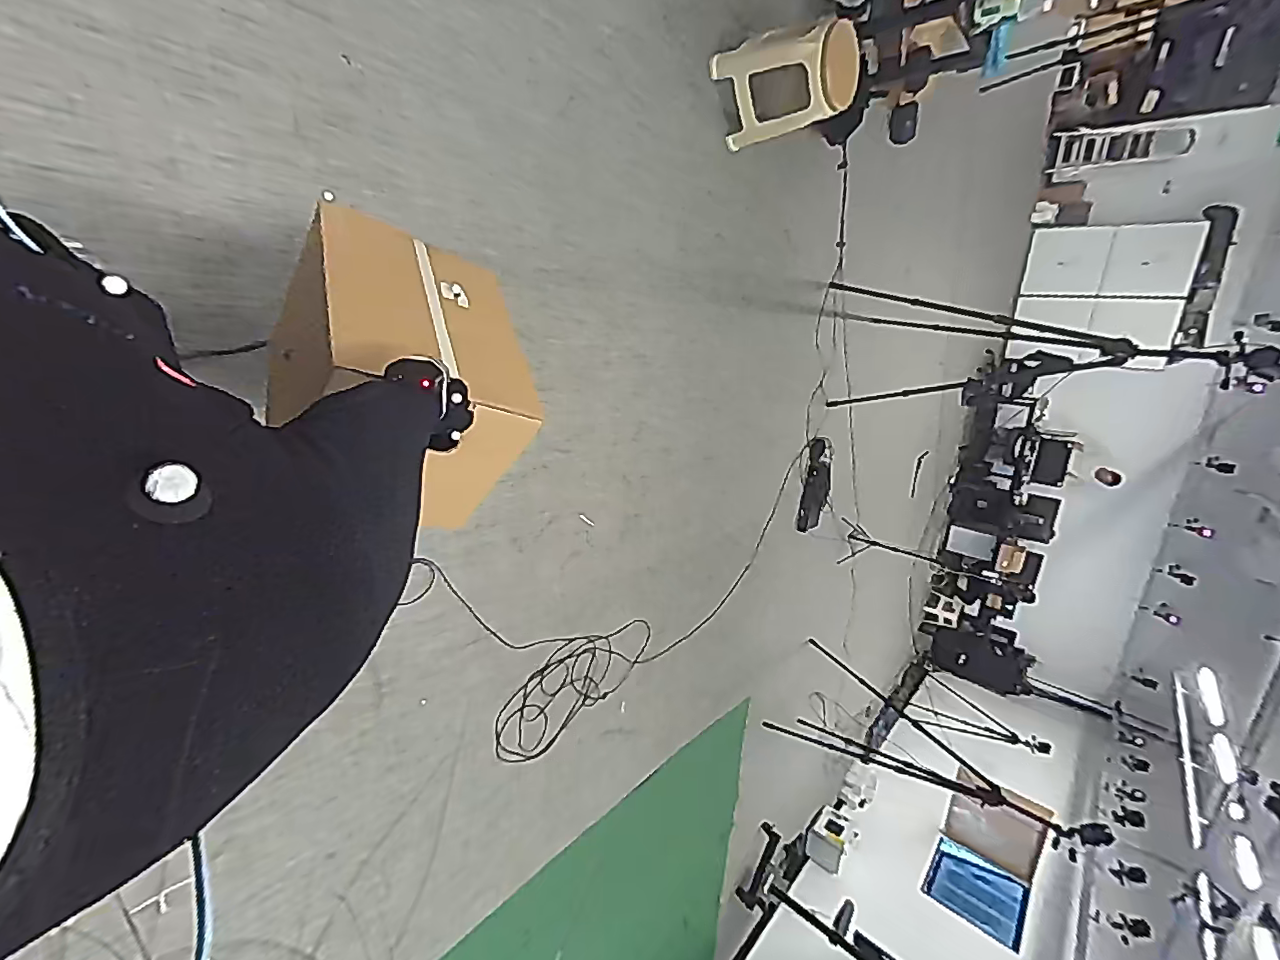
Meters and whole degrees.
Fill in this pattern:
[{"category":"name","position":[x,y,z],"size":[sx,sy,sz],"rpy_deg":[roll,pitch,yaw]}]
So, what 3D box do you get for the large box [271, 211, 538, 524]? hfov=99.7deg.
[{"category":"large box","position":[-0.434,-0.173,0.954],"size":[0.320,0.408,0.320],"rpy_deg":[12,132,-44]}]
